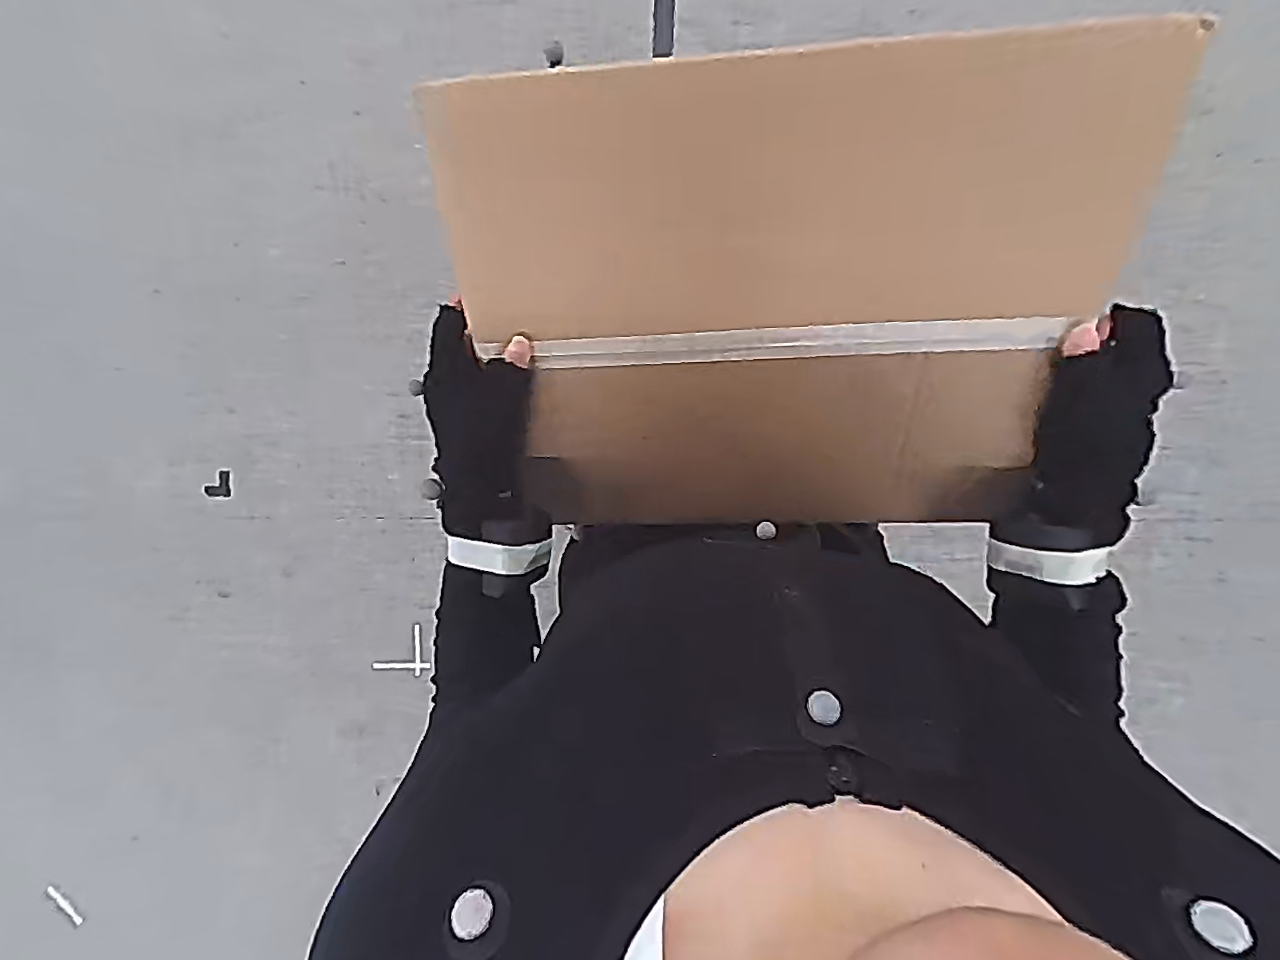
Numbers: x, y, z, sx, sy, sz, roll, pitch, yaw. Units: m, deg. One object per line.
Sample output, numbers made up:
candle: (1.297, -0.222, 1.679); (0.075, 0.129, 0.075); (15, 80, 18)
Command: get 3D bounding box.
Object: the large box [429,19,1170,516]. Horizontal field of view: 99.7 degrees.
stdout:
large box: (0.093, -0.183, 0.498); (0.408, 0.320, 0.320); (-1, 126, 6)
